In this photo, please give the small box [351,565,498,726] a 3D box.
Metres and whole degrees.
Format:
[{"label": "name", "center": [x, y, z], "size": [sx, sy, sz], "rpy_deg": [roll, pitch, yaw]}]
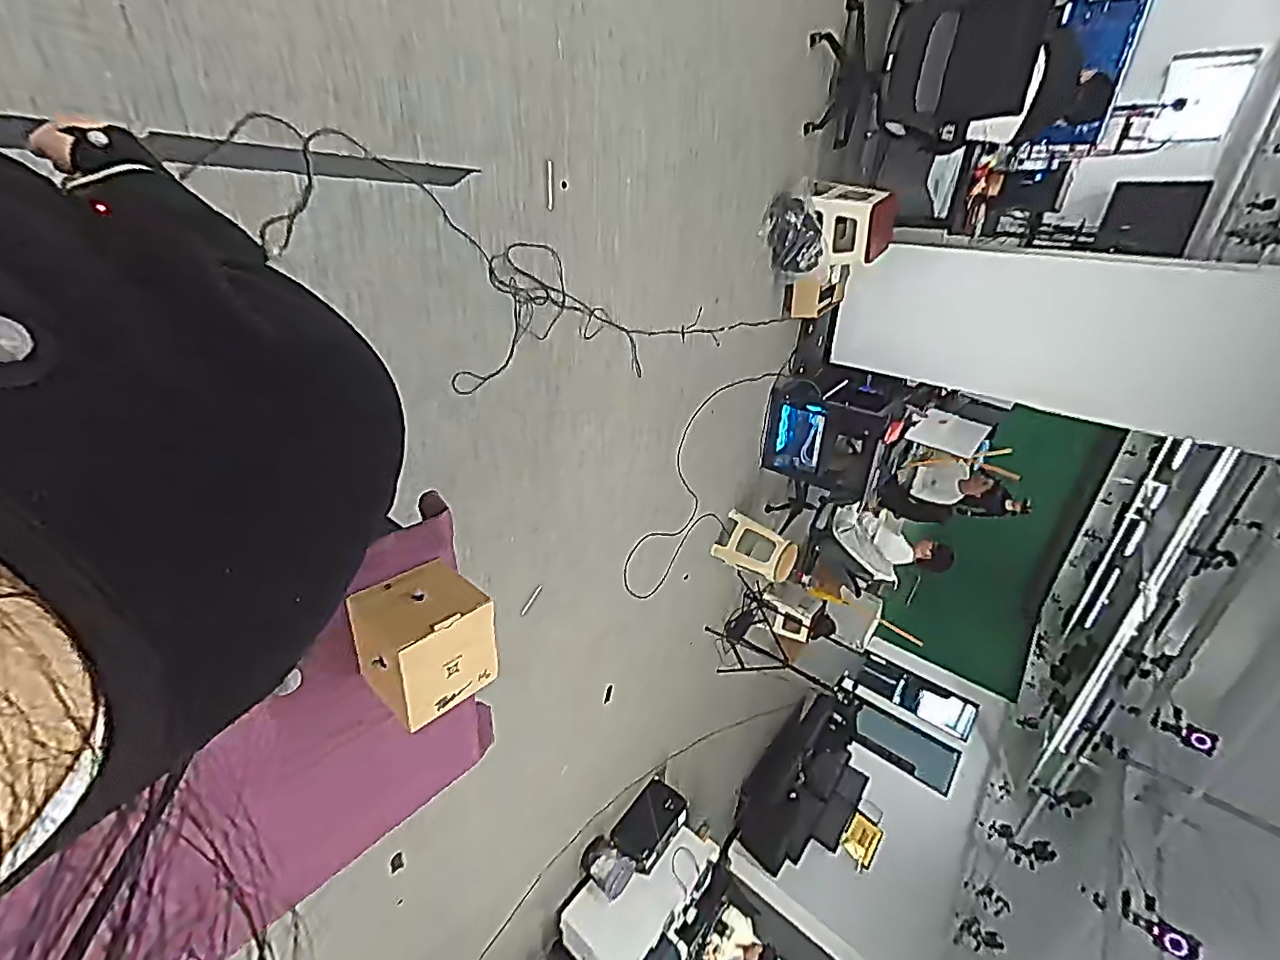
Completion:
[{"label": "small box", "center": [-0.361, 0.263, 0.912], "size": [0.168, 0.176, 0.179], "rpy_deg": [-24, 127, -44]}]
